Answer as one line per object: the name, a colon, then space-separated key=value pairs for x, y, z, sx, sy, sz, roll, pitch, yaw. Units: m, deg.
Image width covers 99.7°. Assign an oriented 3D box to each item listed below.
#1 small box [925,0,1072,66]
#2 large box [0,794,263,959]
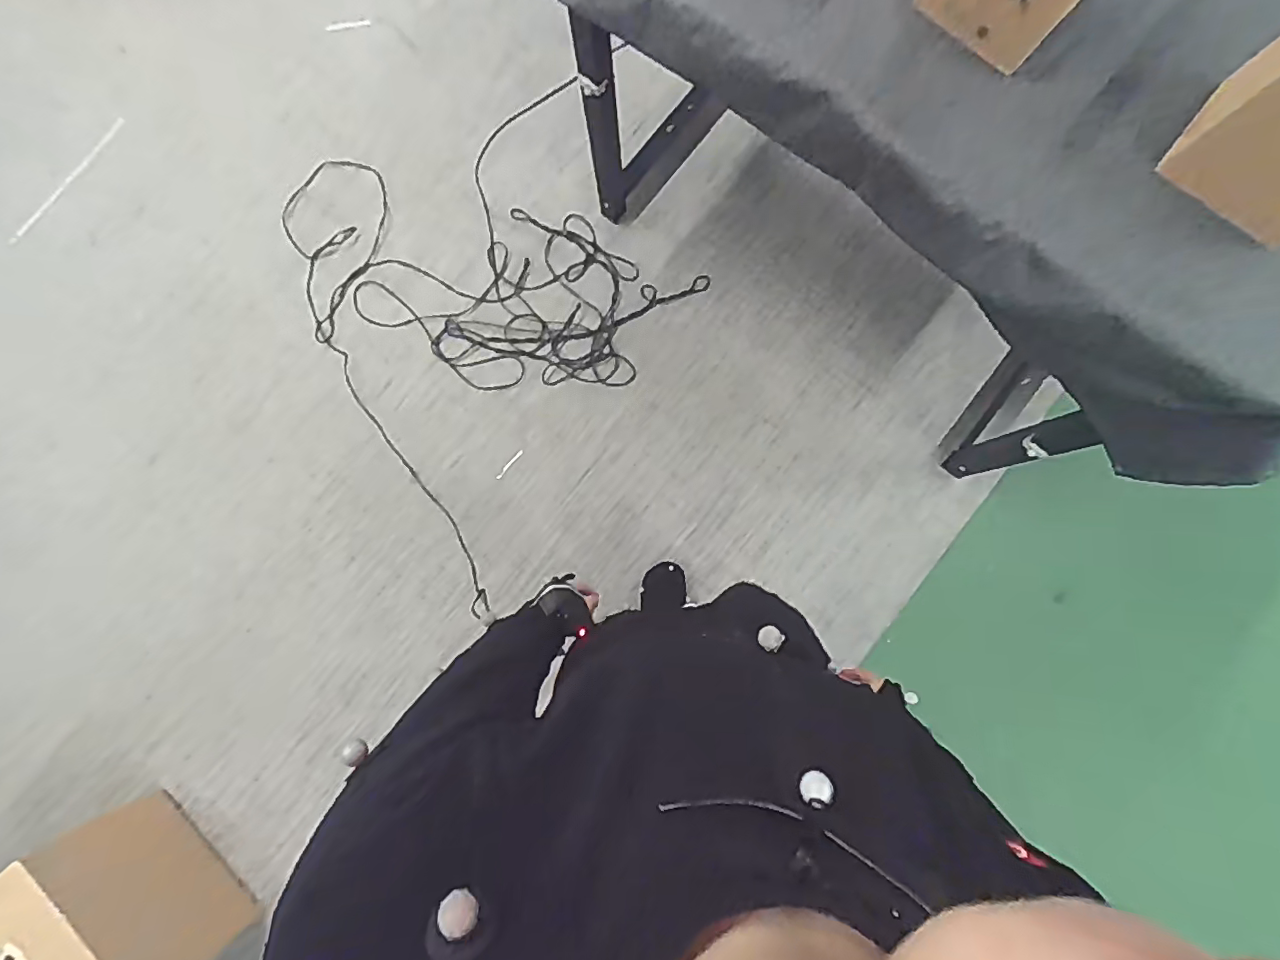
small box: x=0.472 y=-0.655 z=0.641 sx=0.168 sy=0.176 sz=0.179 roll=42 pitch=85 yaw=5
large box: x=-1.135 y=0.987 z=1.145 sx=0.408 sy=0.320 sz=0.320 roll=43 pitch=86 yaw=7
